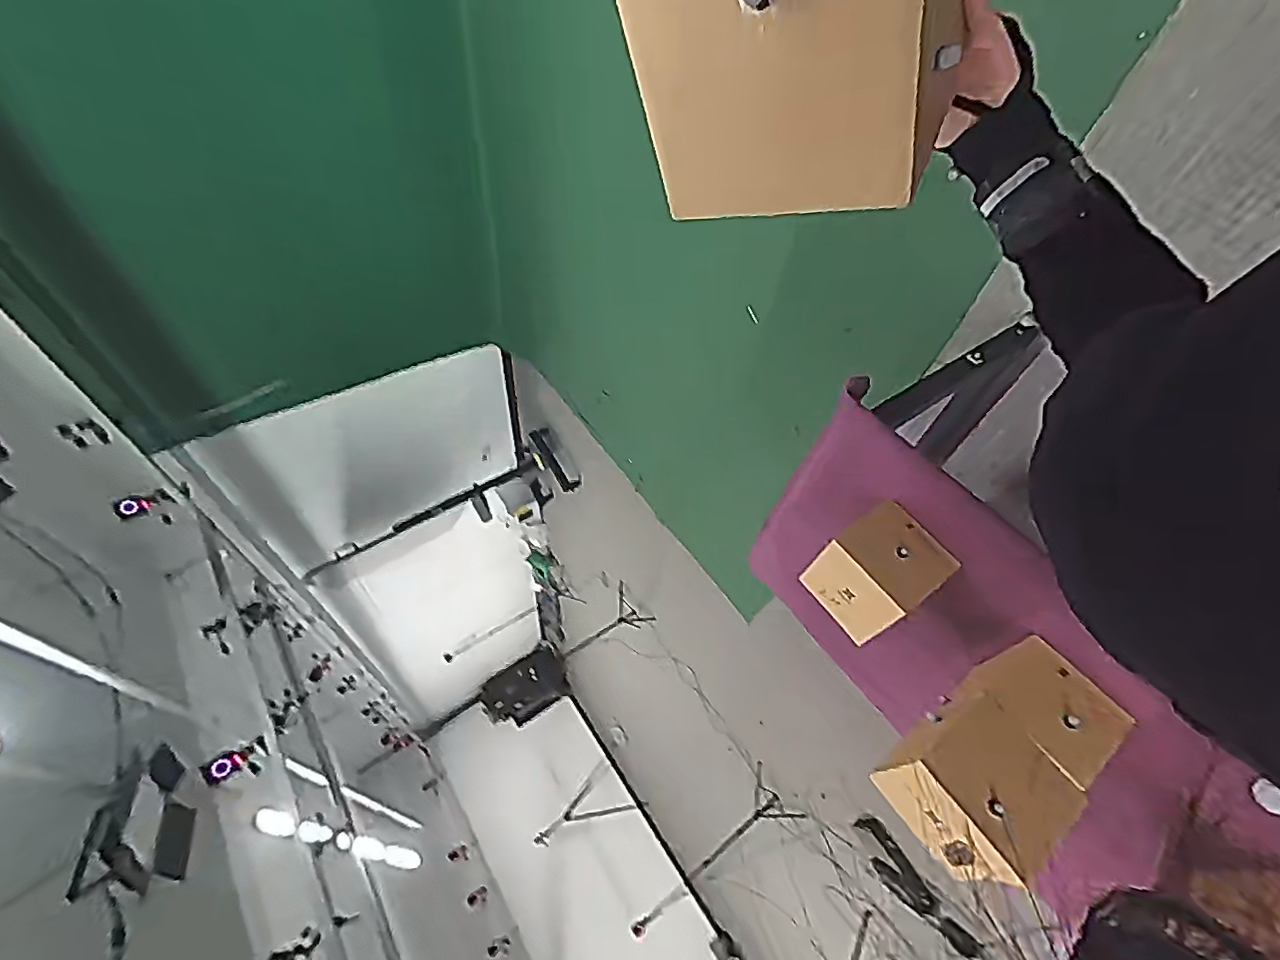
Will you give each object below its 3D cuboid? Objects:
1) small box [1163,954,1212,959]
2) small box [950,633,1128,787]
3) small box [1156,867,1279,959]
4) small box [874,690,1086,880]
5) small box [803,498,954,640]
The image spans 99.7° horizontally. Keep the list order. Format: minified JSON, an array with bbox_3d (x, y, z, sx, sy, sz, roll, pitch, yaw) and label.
[{"bbox_3d":[0.732,0.709,0.635,0.168,0.176,0.179,49,152,26],"label":"small box"},{"bbox_3d":[0.635,0.380,0.880,0.168,0.176,0.179,48,153,27],"label":"small box"},{"bbox_3d":[0.863,0.646,0.711,0.168,0.176,0.179,48,151,27],"label":"small box"},{"bbox_3d":[0.503,0.451,0.811,0.179,0.176,0.168,50,154,25],"label":"small box"},{"bbox_3d":[0.447,0.164,1.013,0.168,0.176,0.179,50,154,23],"label":"small box"}]
